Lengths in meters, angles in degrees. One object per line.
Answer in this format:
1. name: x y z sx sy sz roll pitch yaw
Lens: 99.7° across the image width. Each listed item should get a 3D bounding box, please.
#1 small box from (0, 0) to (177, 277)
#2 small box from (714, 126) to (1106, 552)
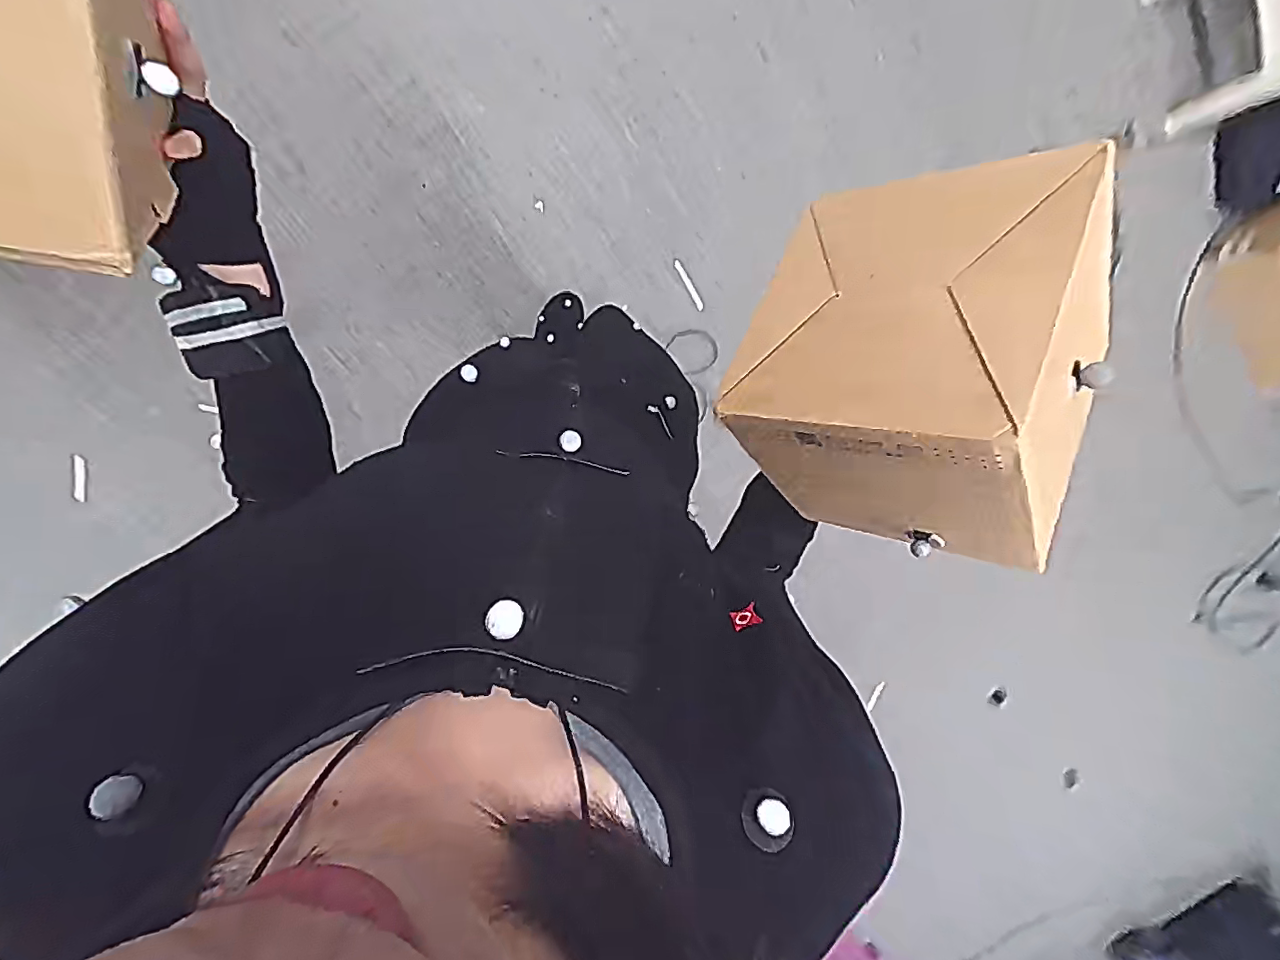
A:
1. small box: -0.307 -0.211 0.205 0.179 0.168 0.176 2 133 -34
2. small box: 0.177 -0.077 0.347 0.176 0.168 0.179 37 73 -43
